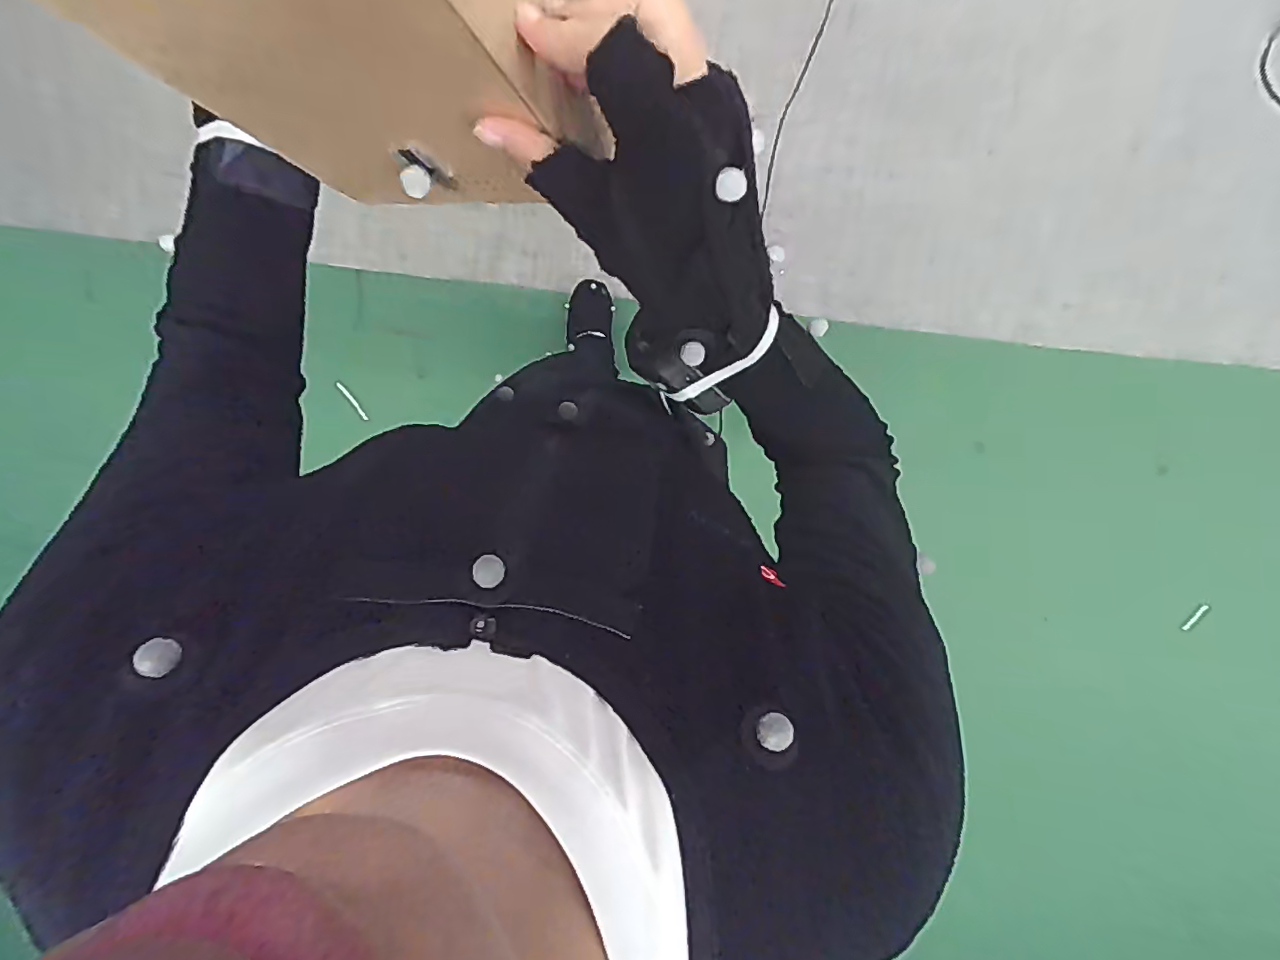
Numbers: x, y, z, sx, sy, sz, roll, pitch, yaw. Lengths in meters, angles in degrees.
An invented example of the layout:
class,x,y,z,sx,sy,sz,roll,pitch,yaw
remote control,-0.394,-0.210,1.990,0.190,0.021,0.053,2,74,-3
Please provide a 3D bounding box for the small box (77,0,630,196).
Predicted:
class,x,y,z,sx,sy,sz,roll,pitch,yaw
small box,-0.110,-0.251,0.242,0.179,0.176,0.168,11,90,20
